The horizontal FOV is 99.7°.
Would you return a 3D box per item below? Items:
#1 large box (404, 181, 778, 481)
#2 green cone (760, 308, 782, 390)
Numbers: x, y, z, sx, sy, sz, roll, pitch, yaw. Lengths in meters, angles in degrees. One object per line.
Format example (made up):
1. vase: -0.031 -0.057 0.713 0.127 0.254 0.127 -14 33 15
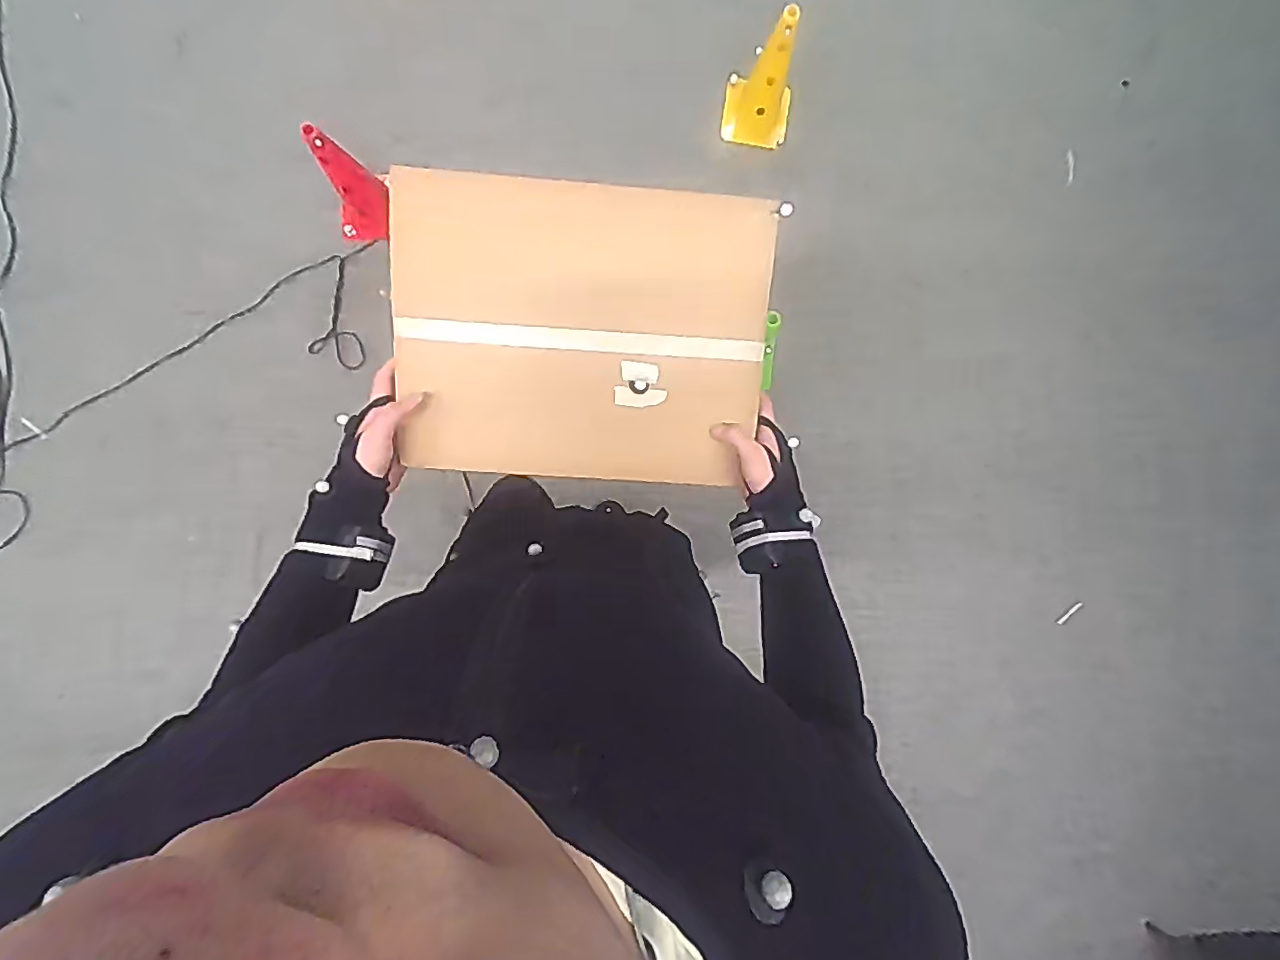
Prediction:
1. large box: -0.065 -0.186 0.749 0.408 0.320 0.320 3 103 -4
2. green cone: 0.322 -0.387 1.488 0.200 0.368 0.202 5 88 -3
